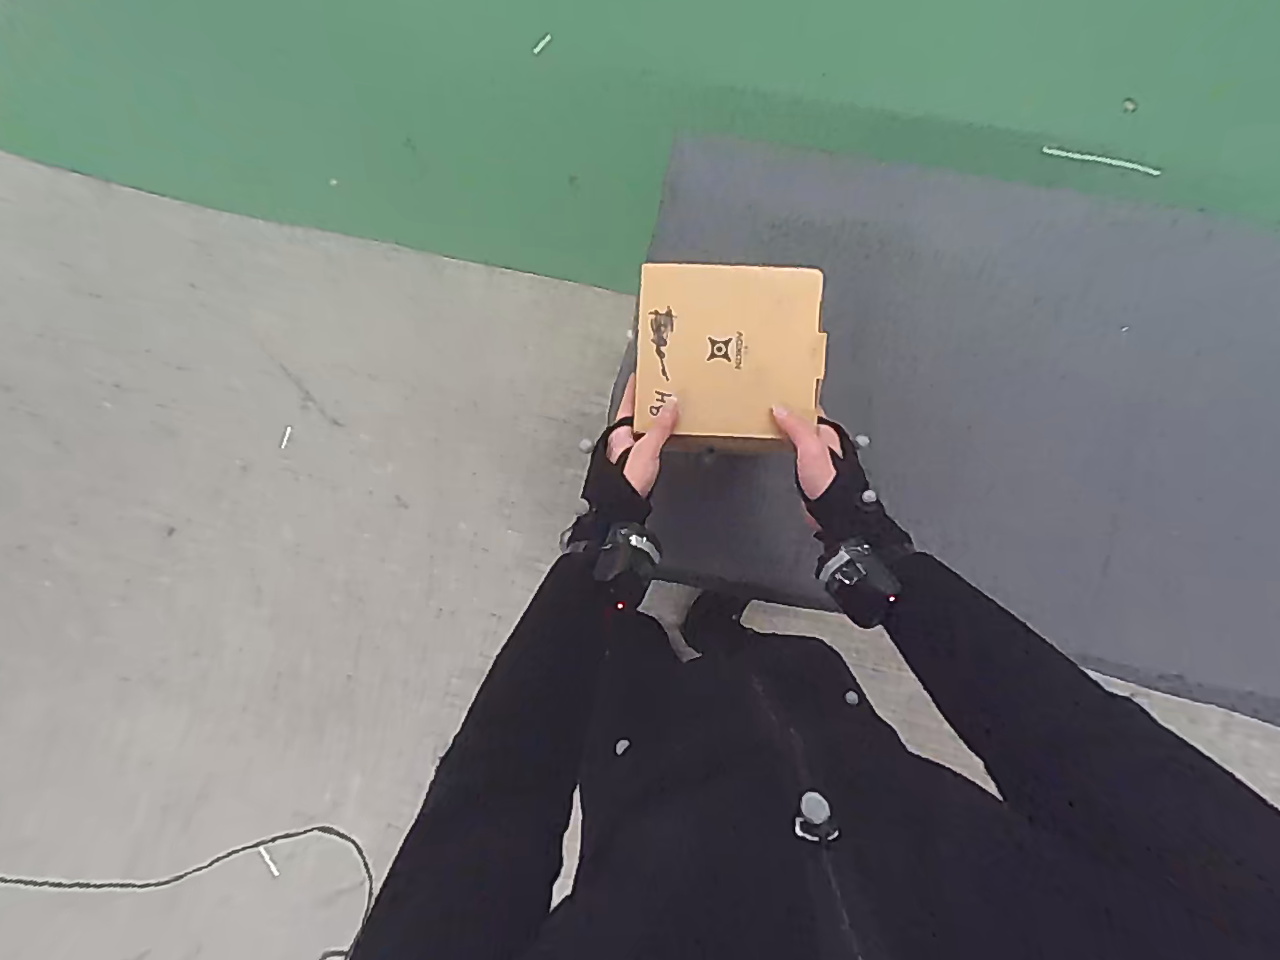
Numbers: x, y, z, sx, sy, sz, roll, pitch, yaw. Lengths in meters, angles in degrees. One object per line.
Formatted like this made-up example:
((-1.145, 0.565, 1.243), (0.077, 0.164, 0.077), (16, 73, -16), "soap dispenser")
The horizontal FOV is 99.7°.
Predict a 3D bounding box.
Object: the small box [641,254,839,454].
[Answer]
((0.095, -0.122, 0.588), (0.179, 0.176, 0.168), (4, 87, 0), "small box")
